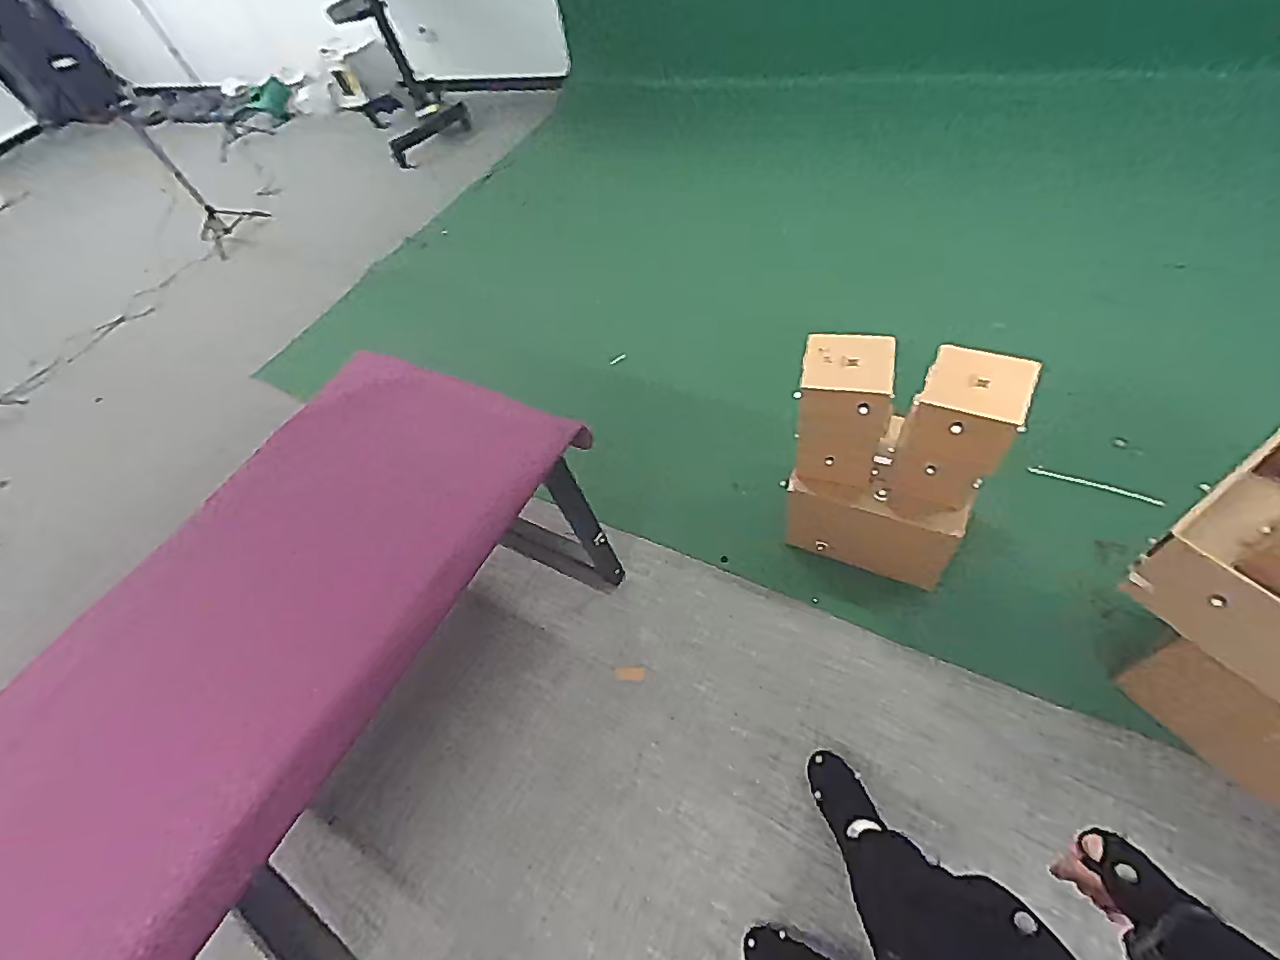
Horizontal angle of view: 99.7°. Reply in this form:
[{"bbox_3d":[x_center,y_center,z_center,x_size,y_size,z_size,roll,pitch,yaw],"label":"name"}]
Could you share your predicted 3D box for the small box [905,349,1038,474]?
[{"bbox_3d":[0.662,-0.135,1.097,0.179,0.176,0.168,20,63,27],"label":"small box"}]
